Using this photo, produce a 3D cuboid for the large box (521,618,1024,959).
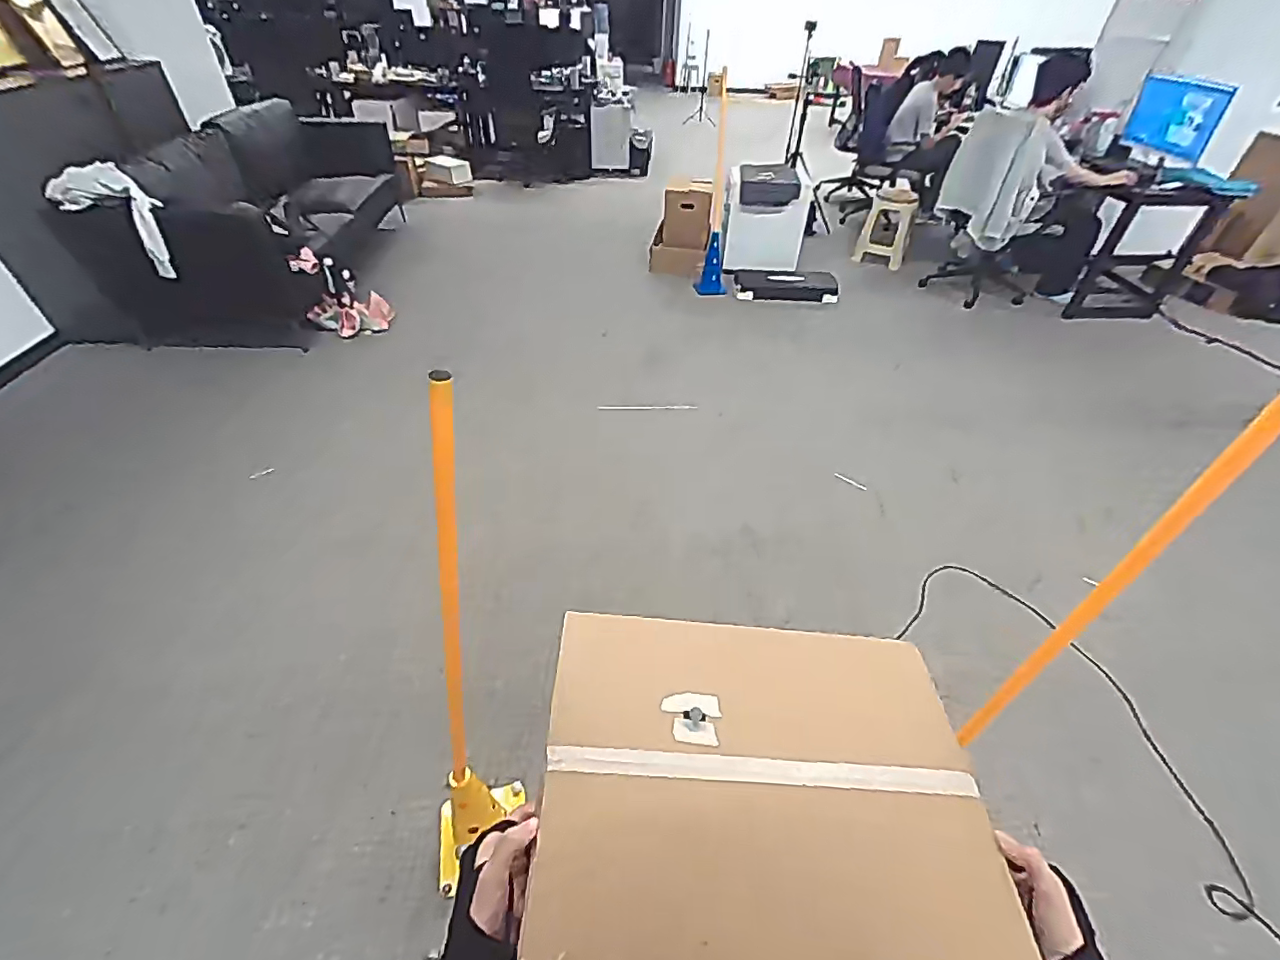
[{"bbox_3d":[0.097,0.381,0.614,0.408,0.320,0.320,5,43,-3],"label":"large box"}]
